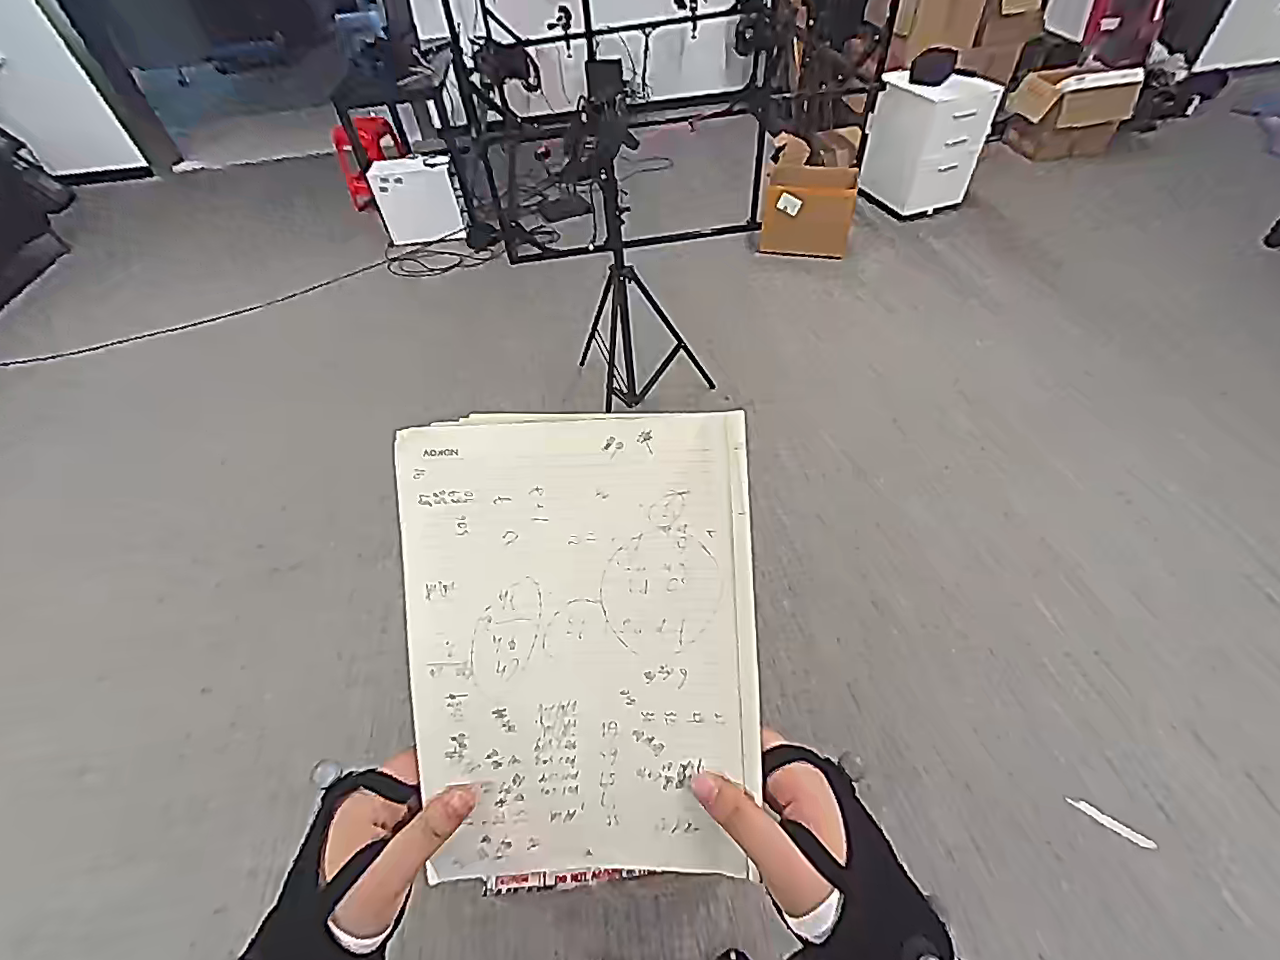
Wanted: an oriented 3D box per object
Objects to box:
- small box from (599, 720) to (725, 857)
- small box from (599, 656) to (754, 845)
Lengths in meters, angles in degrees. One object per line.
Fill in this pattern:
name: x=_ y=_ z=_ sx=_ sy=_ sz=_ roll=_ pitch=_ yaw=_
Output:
small box: x=0.038 y=0.459 z=0.829 sx=0.179 sy=0.176 sz=0.168 roll=-9 pitch=50 yaw=-5
small box: x=0.037 y=0.353 z=0.703 sx=0.168 sy=0.176 sz=0.179 roll=-6 pitch=51 yaw=-4
